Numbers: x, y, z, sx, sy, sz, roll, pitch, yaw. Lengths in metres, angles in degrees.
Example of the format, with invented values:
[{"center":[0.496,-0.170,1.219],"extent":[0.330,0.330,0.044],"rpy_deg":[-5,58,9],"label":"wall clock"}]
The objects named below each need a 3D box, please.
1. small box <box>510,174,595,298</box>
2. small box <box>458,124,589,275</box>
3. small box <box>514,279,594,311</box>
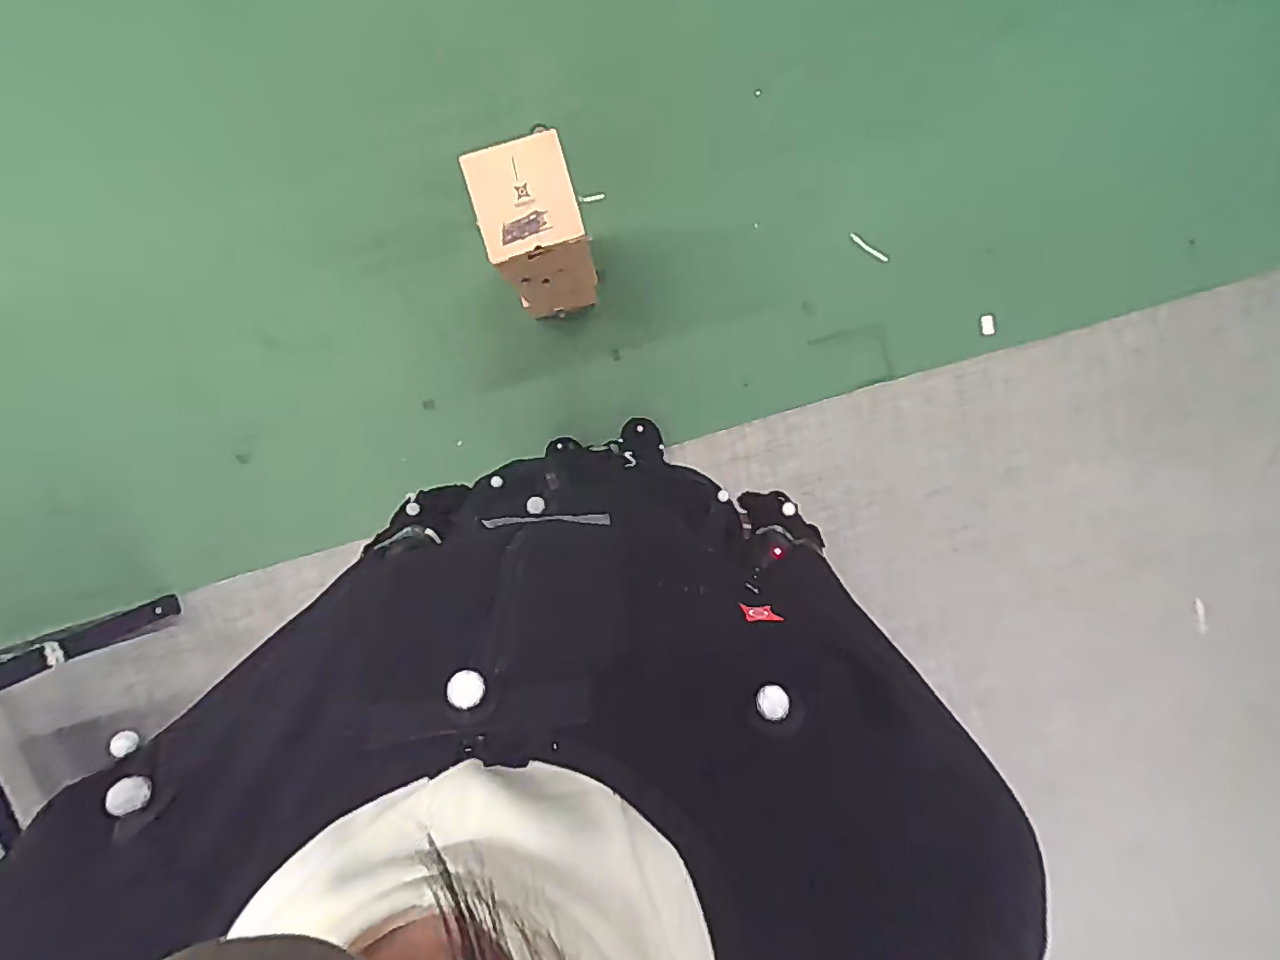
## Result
[{"center":[-0.195,-0.499,1.115],"extent":[0.168,0.176,0.179],"rpy_deg":[-16,97,1],"label":"small box"},{"center":[-0.192,-0.476,0.952],"extent":[0.168,0.176,0.179],"rpy_deg":[-16,97,0],"label":"small box"},{"center":[-0.208,-0.509,1.260],"extent":[0.168,0.176,0.179],"rpy_deg":[-13,98,2],"label":"small box"}]
